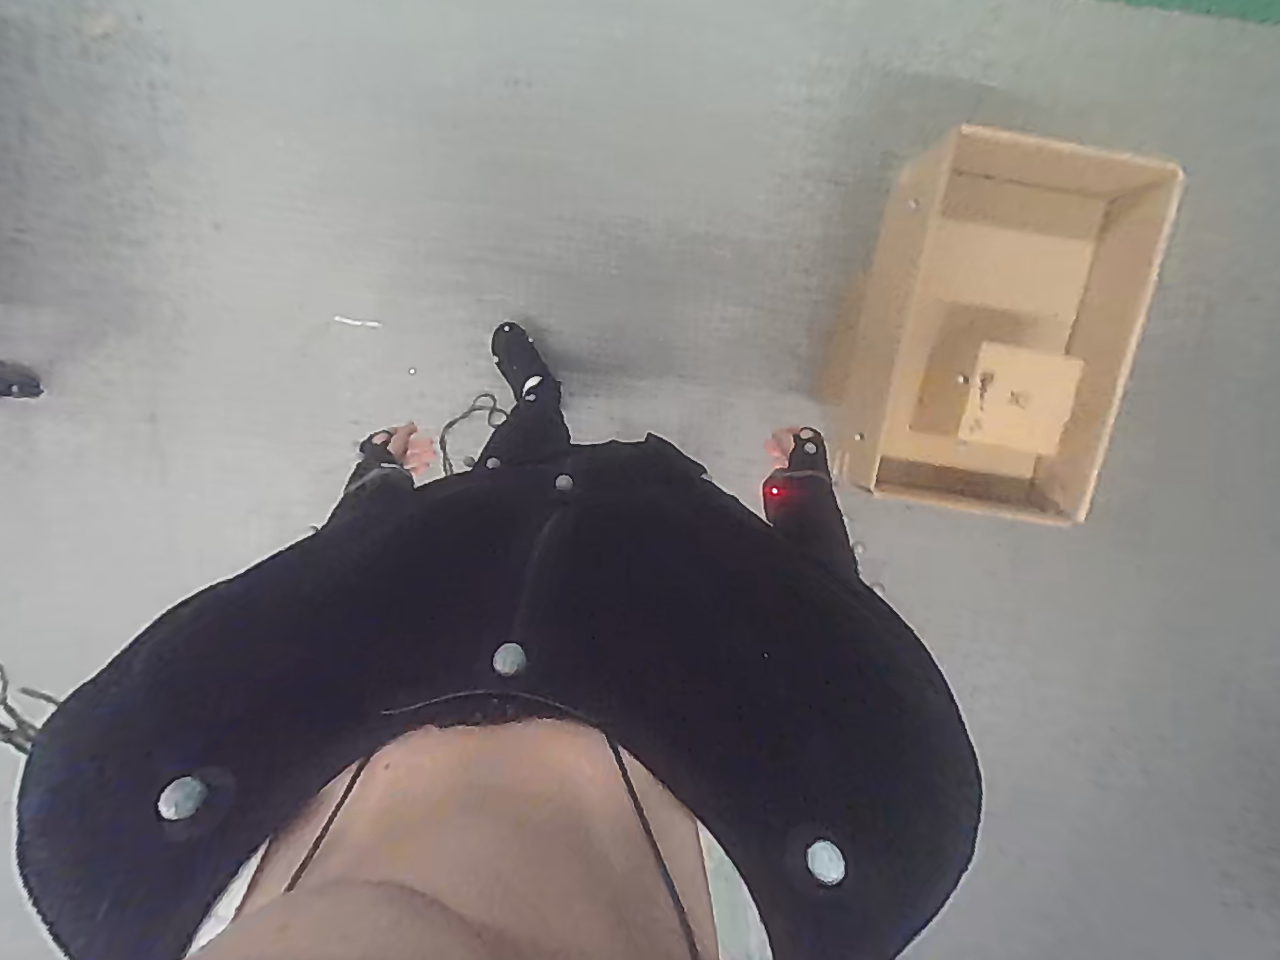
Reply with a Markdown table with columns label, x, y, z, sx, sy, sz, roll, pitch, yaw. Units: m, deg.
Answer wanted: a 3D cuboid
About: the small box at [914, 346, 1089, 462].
| label | x | y | z | sx | sy | sz | roll | pitch | yaw |
| --- | --- | --- | --- | --- | --- | --- | --- | --- | --- |
| small box | 0.634 | -0.135 | 0.970 | 0.179 | 0.176 | 0.168 | 11 | 97 | -3 |
